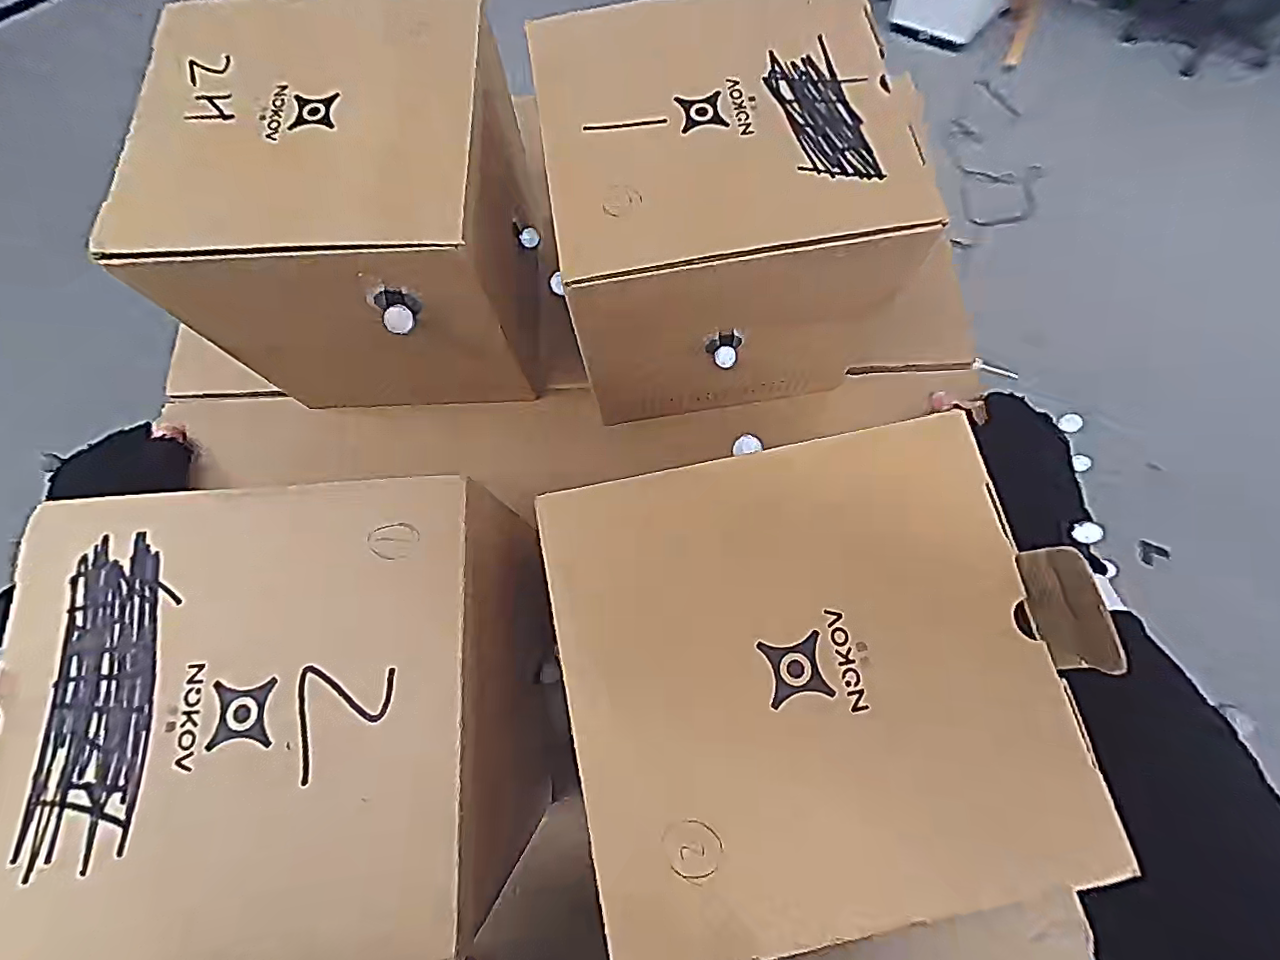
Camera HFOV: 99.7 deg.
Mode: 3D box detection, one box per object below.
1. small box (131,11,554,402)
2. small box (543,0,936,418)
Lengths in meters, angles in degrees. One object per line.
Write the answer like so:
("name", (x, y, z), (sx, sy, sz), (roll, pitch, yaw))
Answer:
("small box", (-0.159, -0.160, 0.360), (0.179, 0.176, 0.168), (0, 73, 2))
("small box", (0.046, -0.154, 0.349), (0.179, 0.176, 0.168), (-9, 73, 1))
